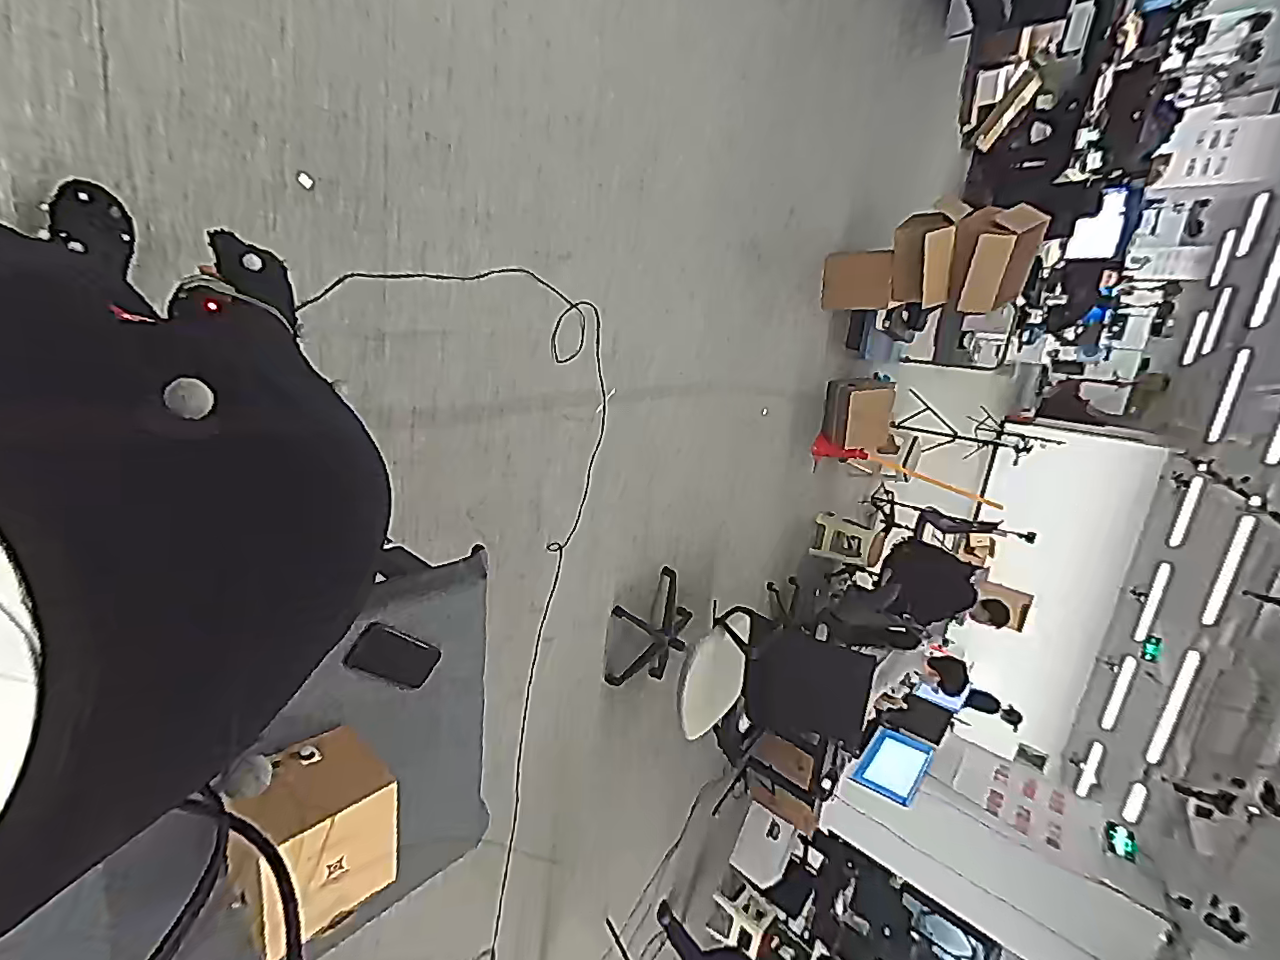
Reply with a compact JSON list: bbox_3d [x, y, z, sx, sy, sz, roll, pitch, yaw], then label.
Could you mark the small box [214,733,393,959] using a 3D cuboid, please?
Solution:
[{"bbox_3d":[-0.463,0.495,0.748,0.168,0.176,0.179,-11,111,-50],"label":"small box"}]
